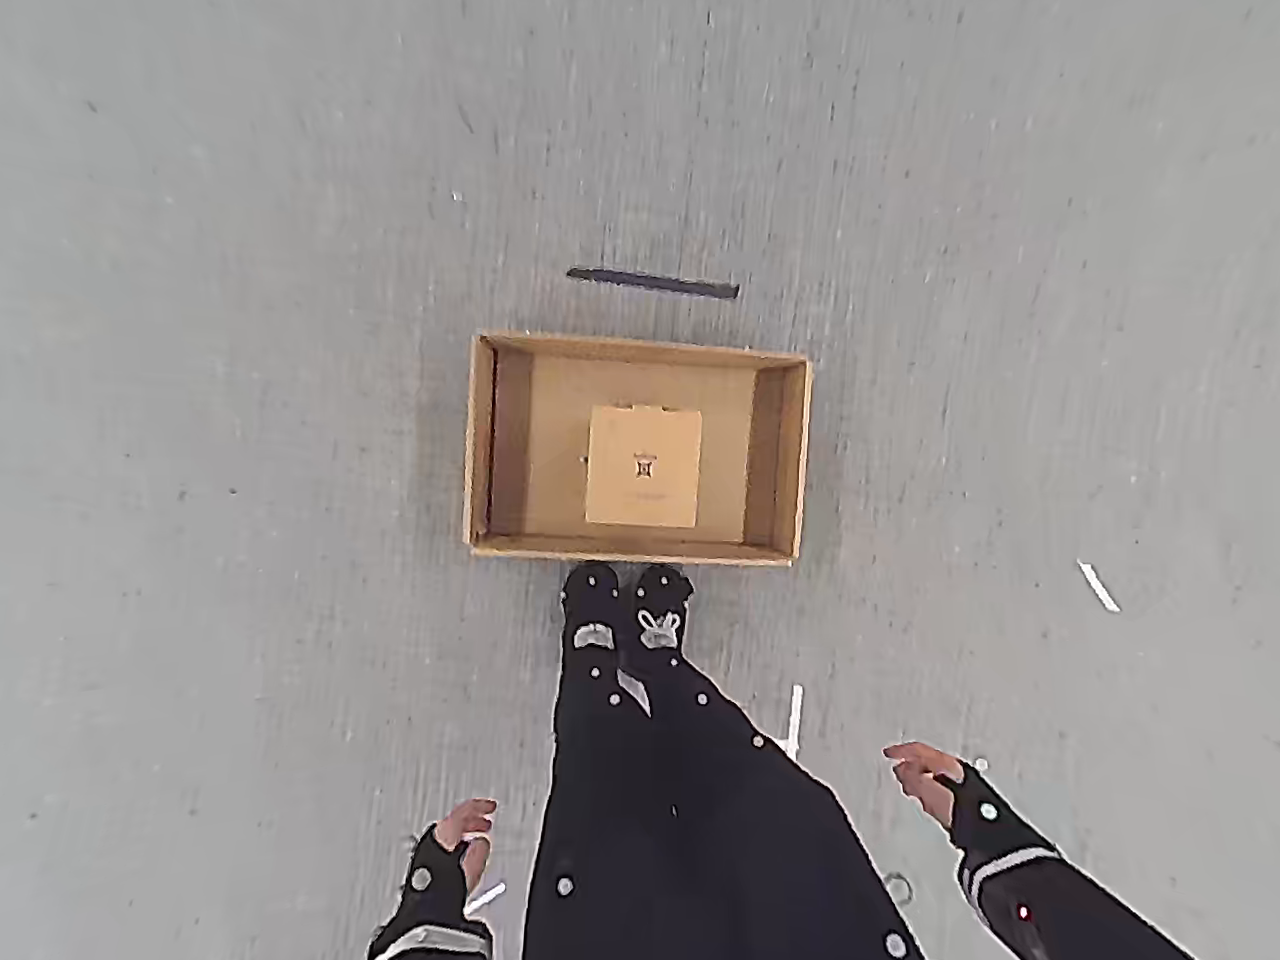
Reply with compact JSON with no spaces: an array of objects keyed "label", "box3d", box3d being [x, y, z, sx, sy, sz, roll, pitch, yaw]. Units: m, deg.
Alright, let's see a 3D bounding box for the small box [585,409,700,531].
[{"label":"small box","box3d":[-0.003,-0.017,0.883,0.168,0.176,0.179,3,93,-5]}]
